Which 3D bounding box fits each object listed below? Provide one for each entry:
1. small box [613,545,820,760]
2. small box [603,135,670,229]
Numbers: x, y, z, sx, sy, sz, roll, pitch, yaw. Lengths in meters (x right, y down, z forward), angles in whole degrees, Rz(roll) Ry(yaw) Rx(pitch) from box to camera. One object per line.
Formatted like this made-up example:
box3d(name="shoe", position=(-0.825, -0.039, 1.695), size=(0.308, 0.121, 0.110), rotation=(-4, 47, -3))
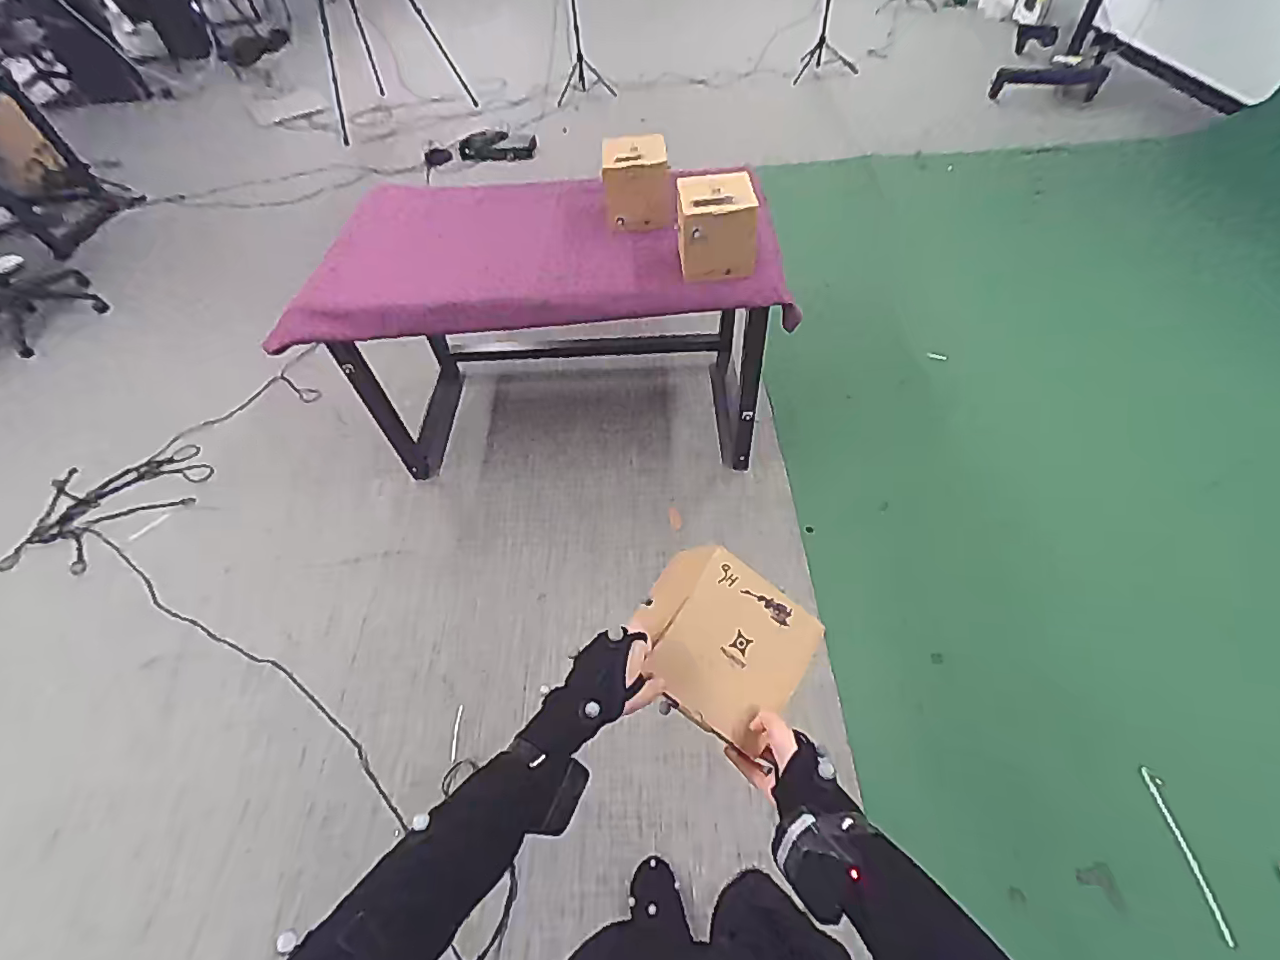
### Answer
box3d(name="small box", position=(0.082, 0.204, 0.680), size=(0.168, 0.176, 0.179), rotation=(39, 72, -5))
box3d(name="small box", position=(-0.006, -0.790, 1.446), size=(0.168, 0.176, 0.179), rotation=(-4, 52, 2))
